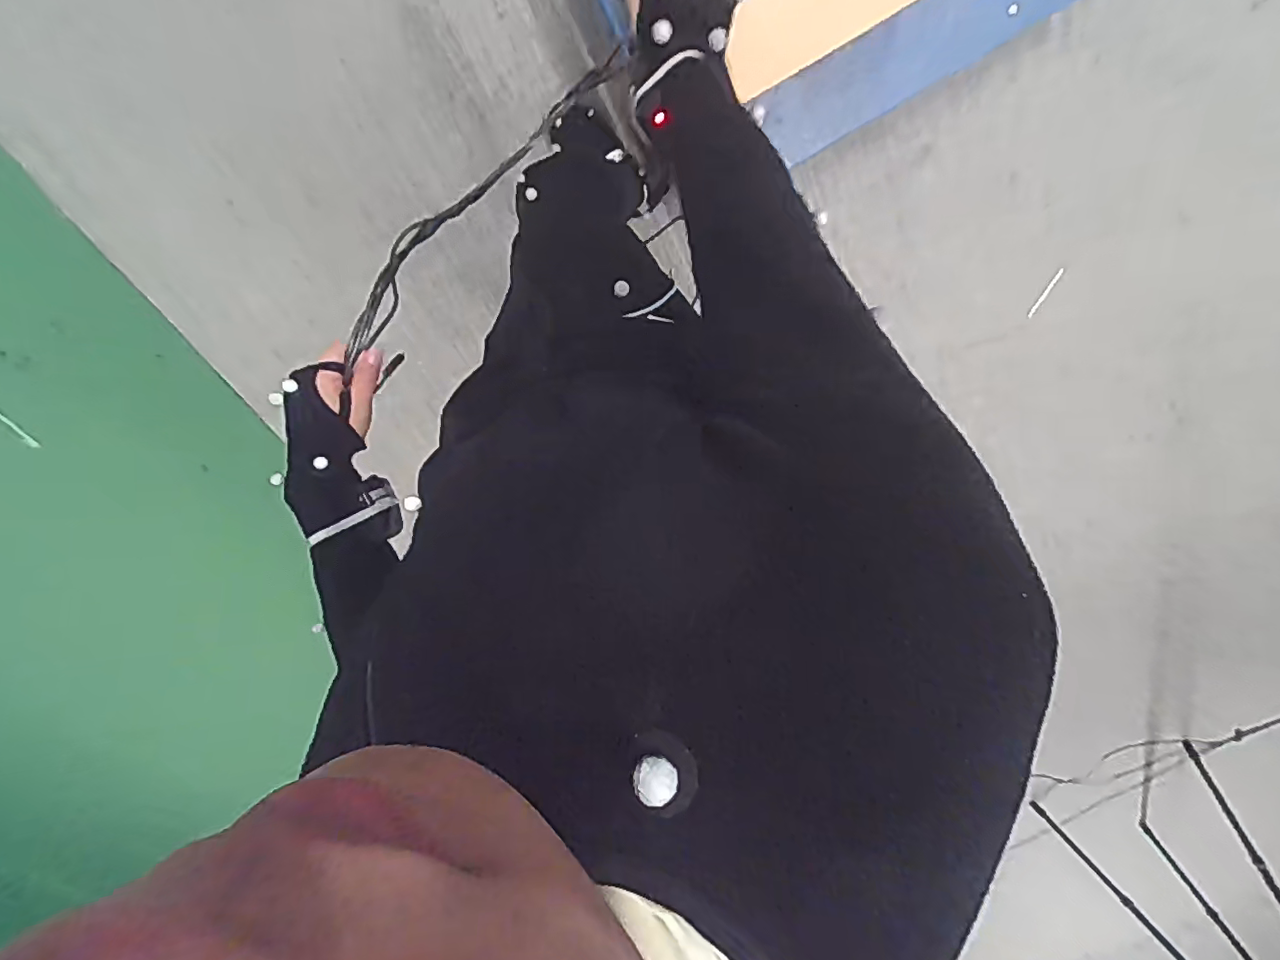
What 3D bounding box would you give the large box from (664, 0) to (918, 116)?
[{"bbox_3d":[0.251,-0.866,0.875,0.408,0.320,0.320,-25,120,11],"label":"large box"}]
